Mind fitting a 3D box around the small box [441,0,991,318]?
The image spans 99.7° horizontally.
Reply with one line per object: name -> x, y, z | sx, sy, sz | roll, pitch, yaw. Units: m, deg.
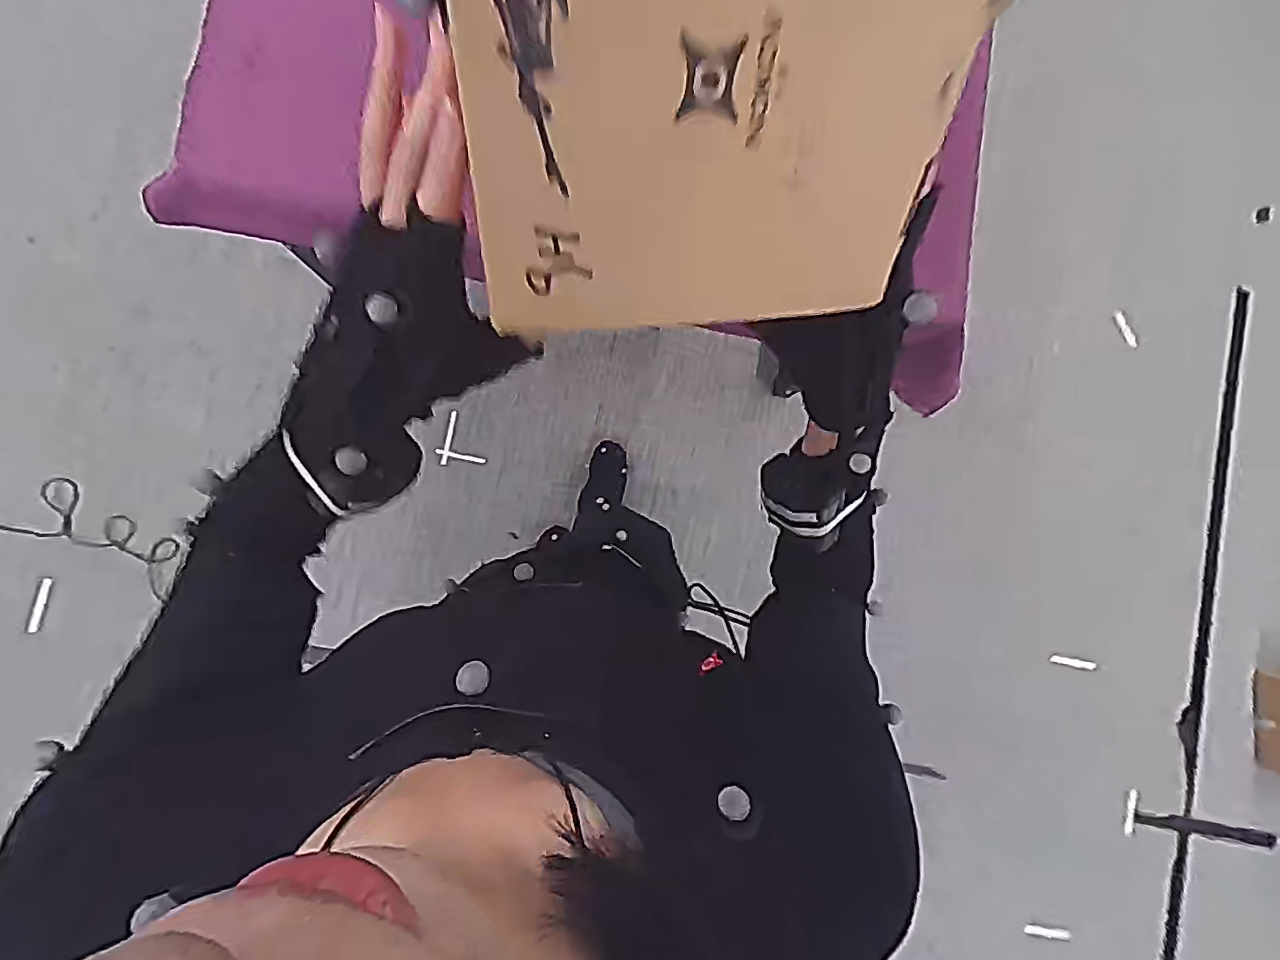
small box -> 0.011, -0.185, 0.227 | 0.179, 0.176, 0.168 | -8, 133, -13
